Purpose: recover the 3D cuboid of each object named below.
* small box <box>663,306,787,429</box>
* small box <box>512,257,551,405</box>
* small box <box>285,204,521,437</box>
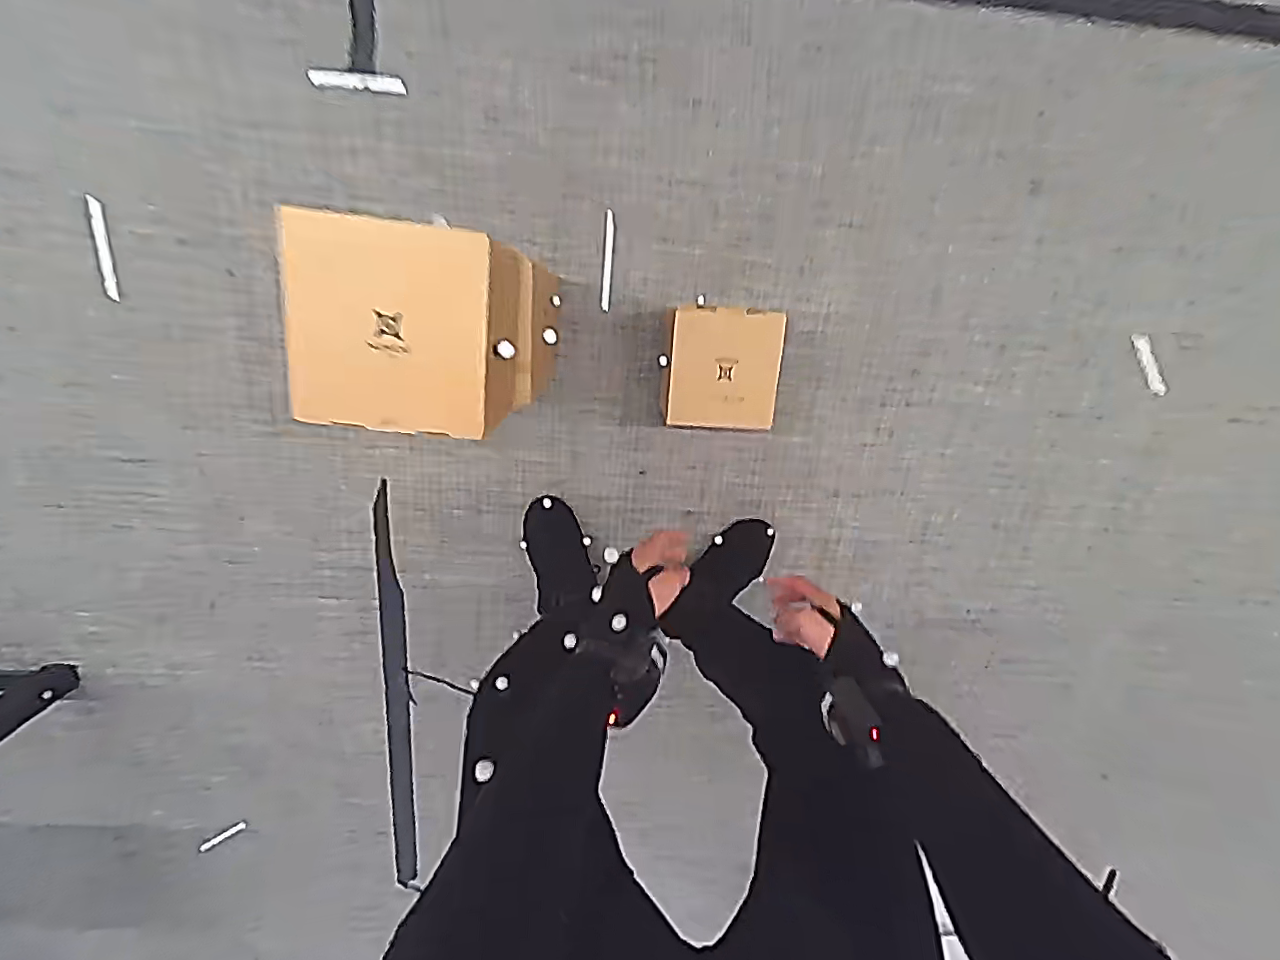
[{"bbox_3d":[0.127,-0.189,0.883,0.168,0.176,0.179,2,109,-2],"label":"small box"},{"bbox_3d":[-0.212,-0.195,0.690,0.179,0.176,0.168,3,108,-5],"label":"small box"},{"bbox_3d":[-0.214,-0.152,0.532,0.168,0.176,0.179,5,108,-5],"label":"small box"}]
